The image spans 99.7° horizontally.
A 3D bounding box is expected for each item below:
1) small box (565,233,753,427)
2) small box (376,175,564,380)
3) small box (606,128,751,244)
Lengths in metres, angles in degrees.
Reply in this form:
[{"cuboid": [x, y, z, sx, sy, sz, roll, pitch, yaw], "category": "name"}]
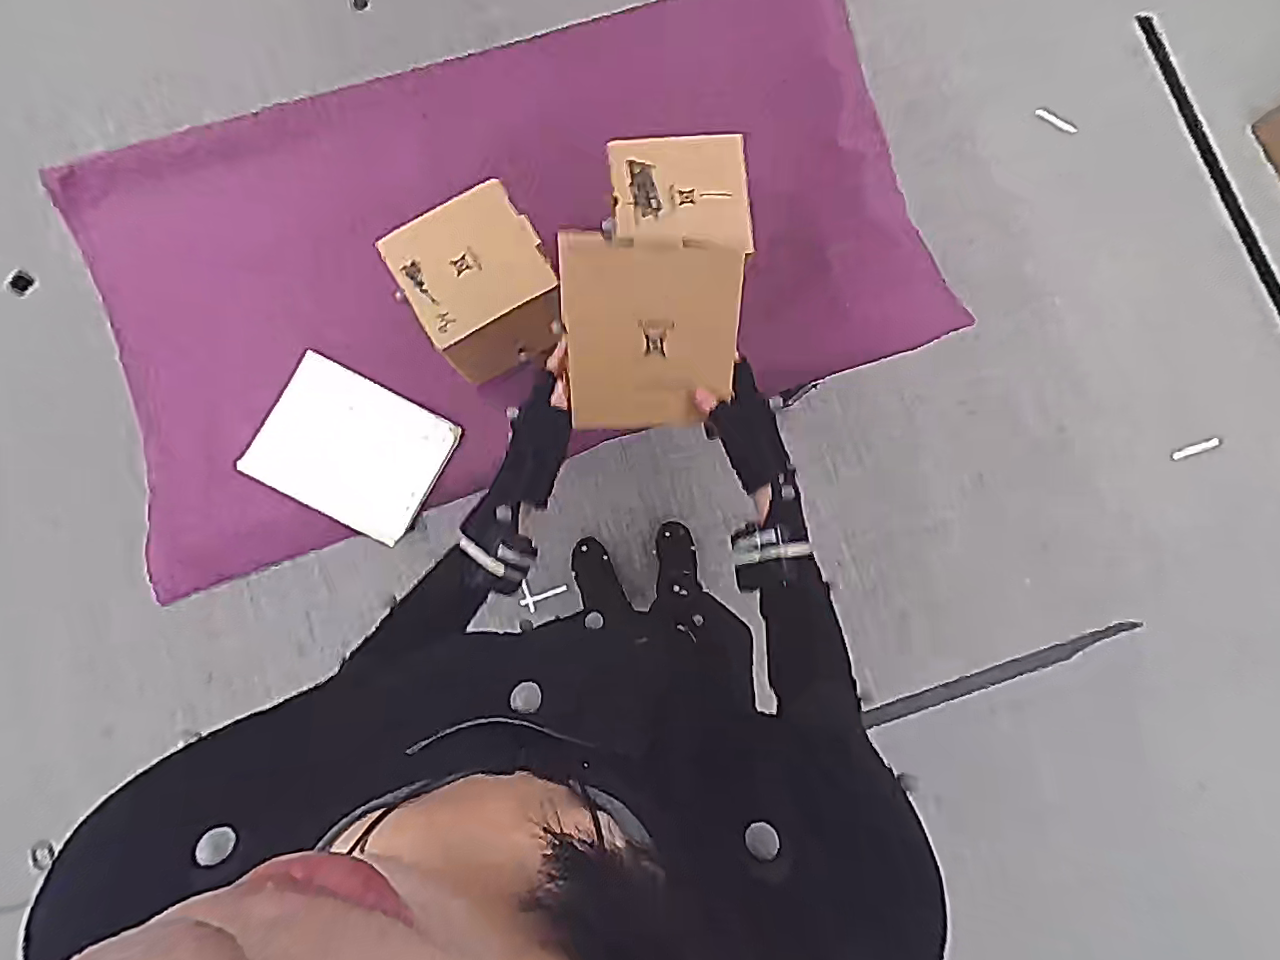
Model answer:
[{"cuboid": [0.006, -0.166, 0.581, 0.168, 0.176, 0.179, -1, 115, -10], "category": "small box"}, {"cuboid": [-0.216, -0.265, 0.747, 0.179, 0.176, 0.168, -31, 85, -5], "category": "small box"}, {"cuboid": [0.047, -0.356, 0.761, 0.179, 0.176, 0.168, -4, 83, -2], "category": "small box"}]
